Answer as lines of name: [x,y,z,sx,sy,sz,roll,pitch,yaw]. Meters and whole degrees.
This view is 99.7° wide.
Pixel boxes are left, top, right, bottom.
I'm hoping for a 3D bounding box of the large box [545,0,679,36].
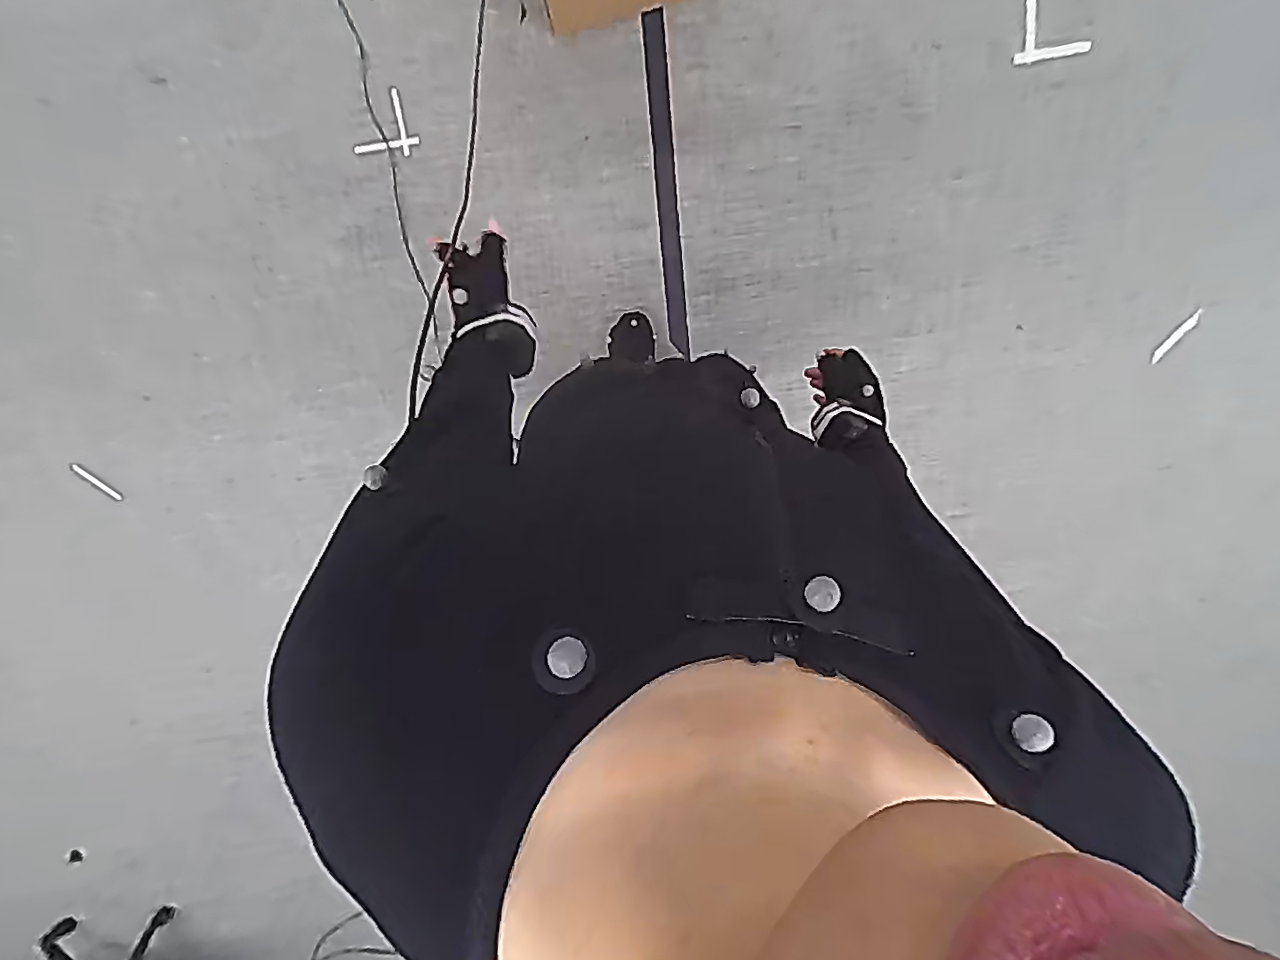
large box: [-0.032,-1.150,1.034,0.408,0.320,0.320,-14,106,3]
